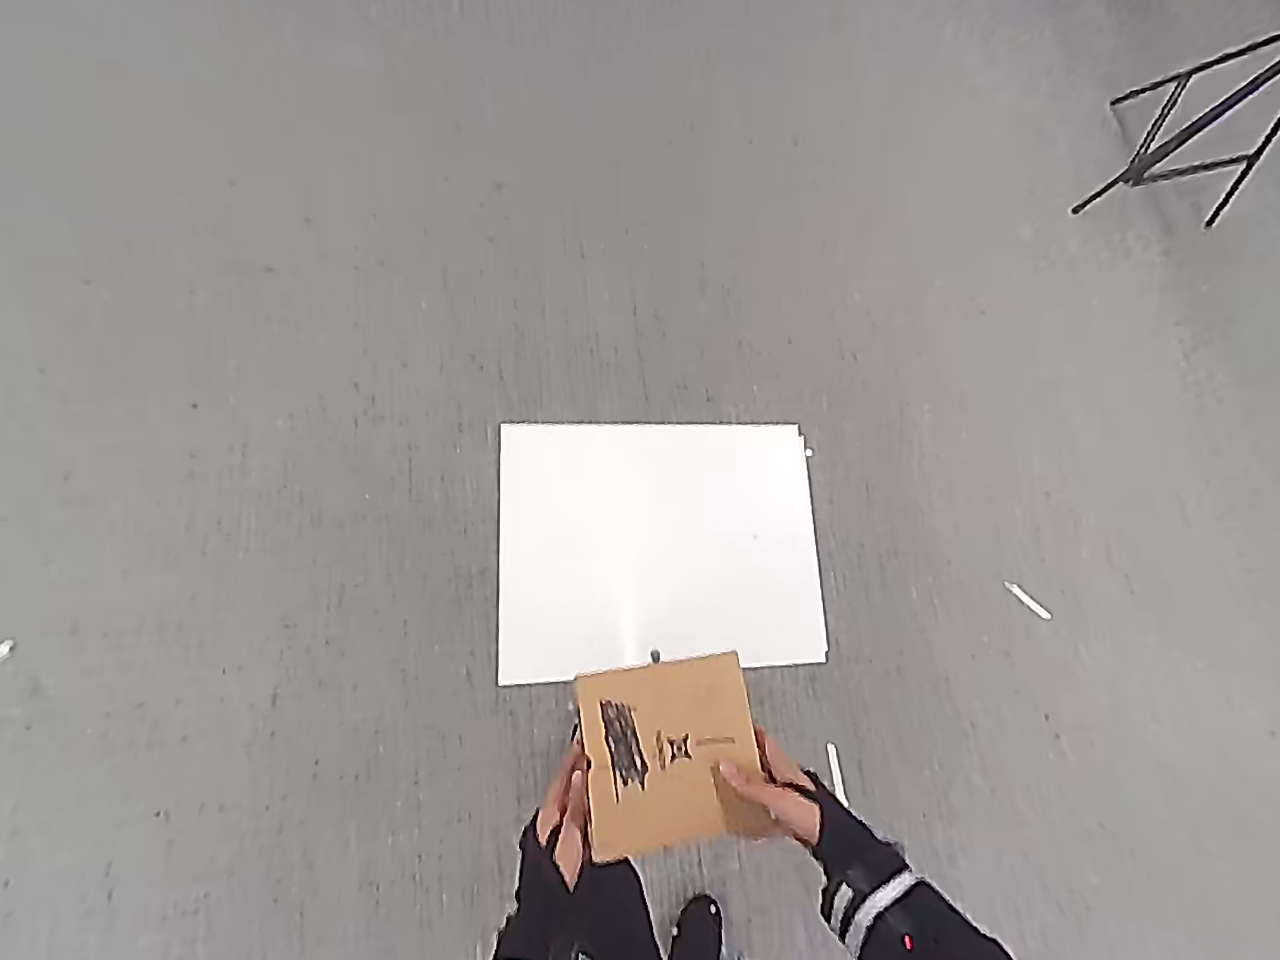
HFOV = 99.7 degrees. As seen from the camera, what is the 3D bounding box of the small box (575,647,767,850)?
[{"bbox_3d":[0.022,0.292,0.617,0.179,0.176,0.168,-6,70,-9],"label":"small box"}]
